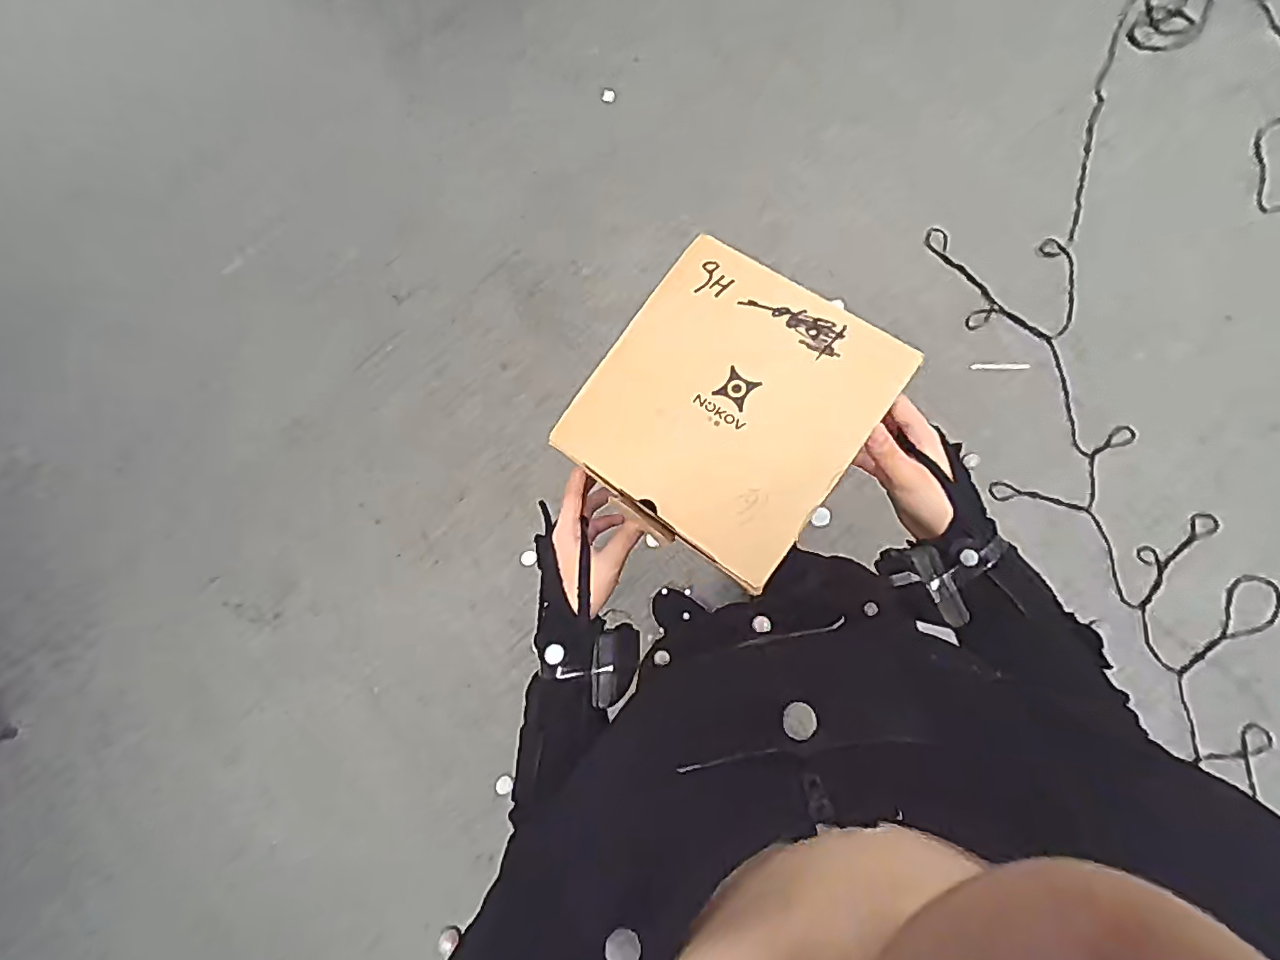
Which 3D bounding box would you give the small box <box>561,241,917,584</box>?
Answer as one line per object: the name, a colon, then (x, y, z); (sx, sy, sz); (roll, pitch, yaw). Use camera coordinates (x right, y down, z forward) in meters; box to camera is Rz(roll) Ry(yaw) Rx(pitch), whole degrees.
small box: (0.074, -0.036, 0.424); (0.168, 0.176, 0.179); (36, 88, 14)
